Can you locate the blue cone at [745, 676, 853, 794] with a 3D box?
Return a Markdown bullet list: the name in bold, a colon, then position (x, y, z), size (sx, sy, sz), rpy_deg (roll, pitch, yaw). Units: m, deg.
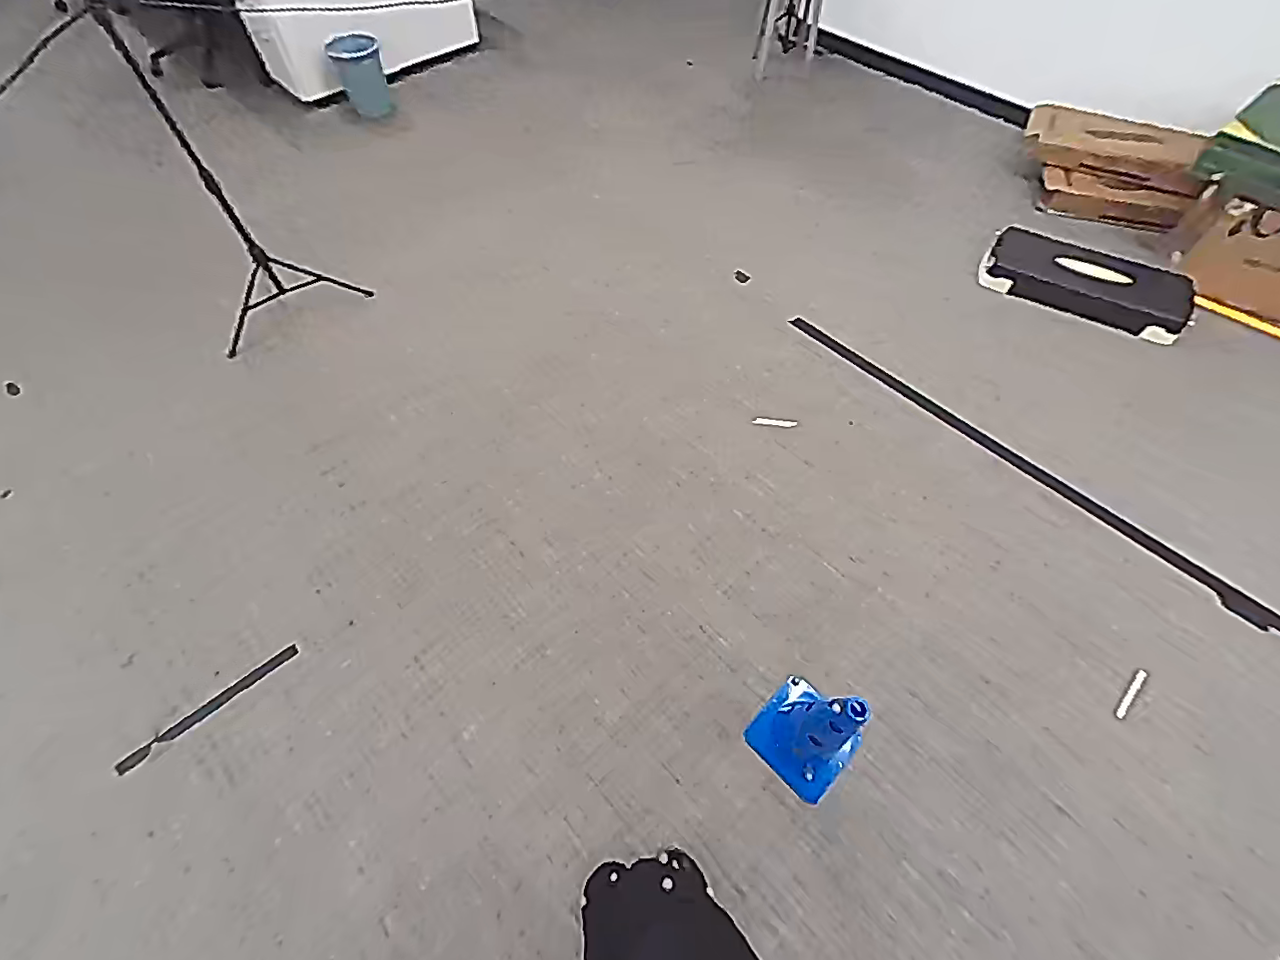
- **blue cone**: position (0.353, 0.477, 1.071), size (0.193, 0.380, 0.192), rpy_deg (-38, 64, -22)
